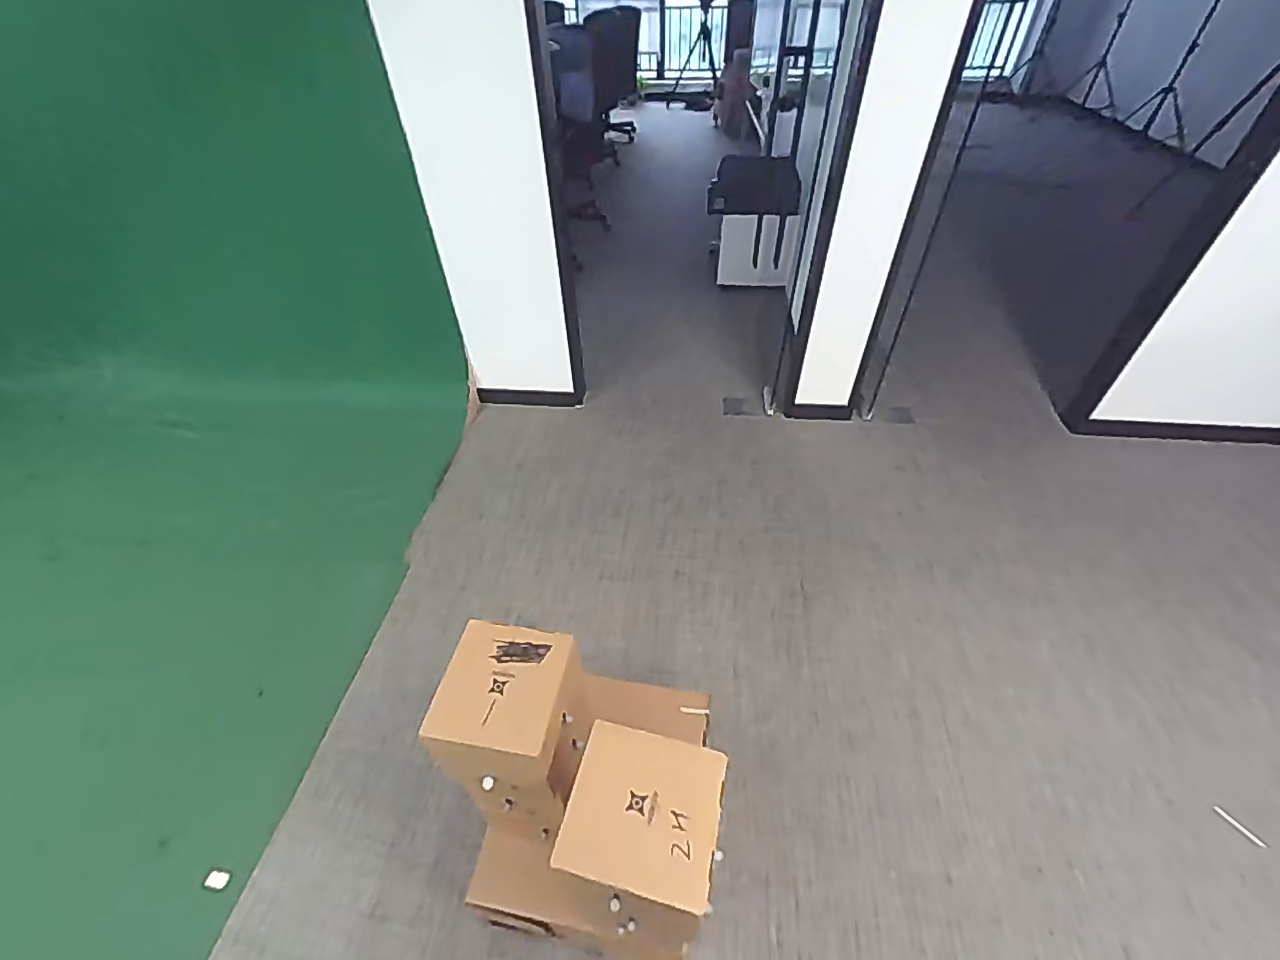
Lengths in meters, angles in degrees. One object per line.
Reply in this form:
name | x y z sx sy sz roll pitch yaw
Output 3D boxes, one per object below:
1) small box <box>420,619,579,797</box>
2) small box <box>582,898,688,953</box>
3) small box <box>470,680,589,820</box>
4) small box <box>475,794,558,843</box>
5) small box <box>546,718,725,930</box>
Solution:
small box | -0.191 0.337 0.801 0.168 0.176 0.179 6 44 8
small box | 0.007 0.664 0.921 0.168 0.176 0.179 8 43 9
small box | -0.187 0.447 0.922 0.168 0.176 0.179 7 45 8
small box | -0.189 0.569 1.031 0.168 0.176 0.179 6 42 8
small box | 0.002 0.434 0.682 0.179 0.176 0.168 10 45 11
